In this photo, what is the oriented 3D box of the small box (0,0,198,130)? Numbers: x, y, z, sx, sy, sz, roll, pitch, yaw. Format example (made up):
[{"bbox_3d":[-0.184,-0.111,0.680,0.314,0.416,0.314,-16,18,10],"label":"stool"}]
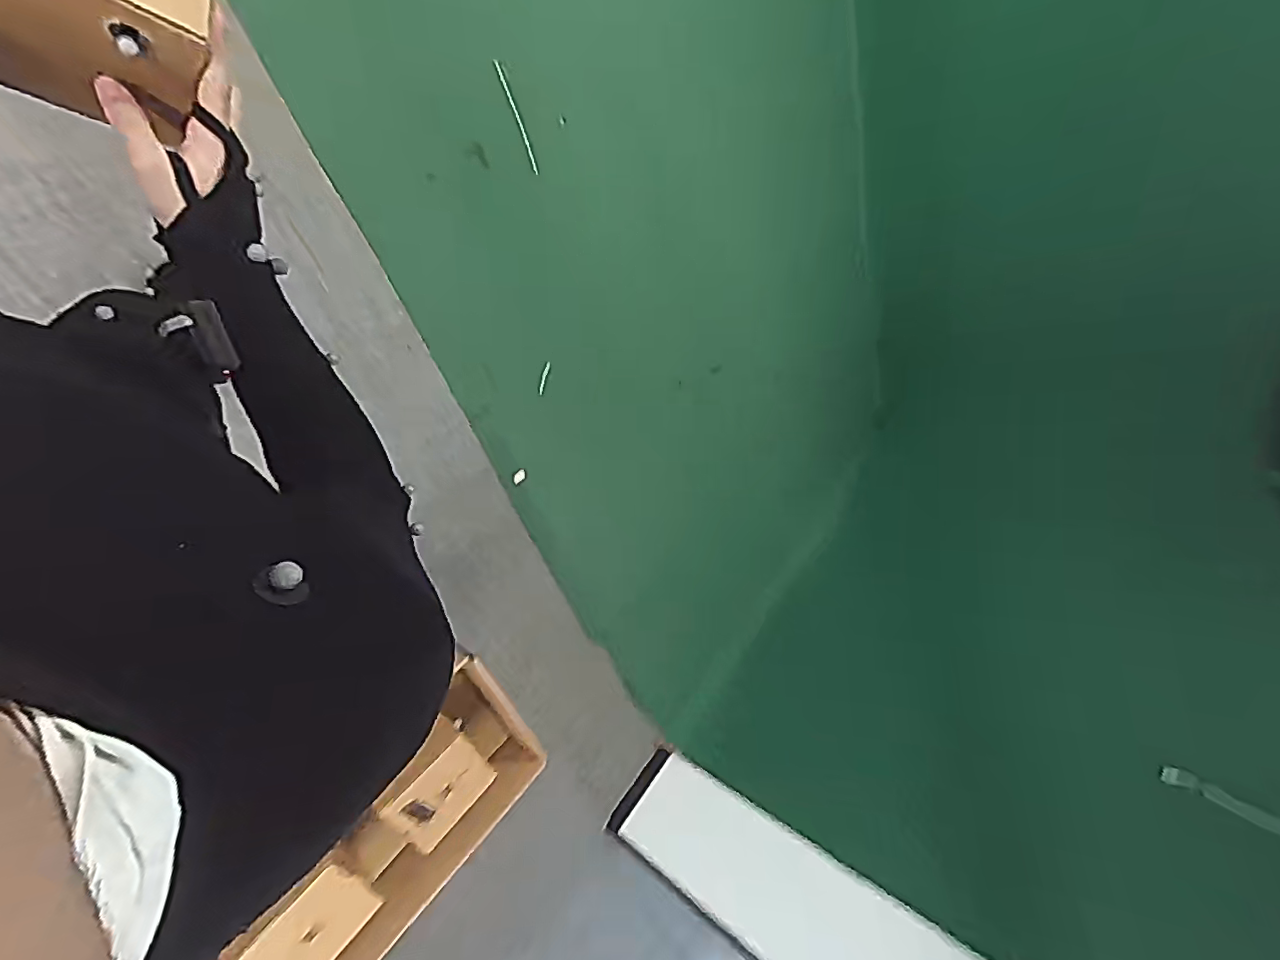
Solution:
[{"bbox_3d":[-0.414,-0.380,0.360,0.179,0.176,0.168,2,86,-46],"label":"small box"}]
